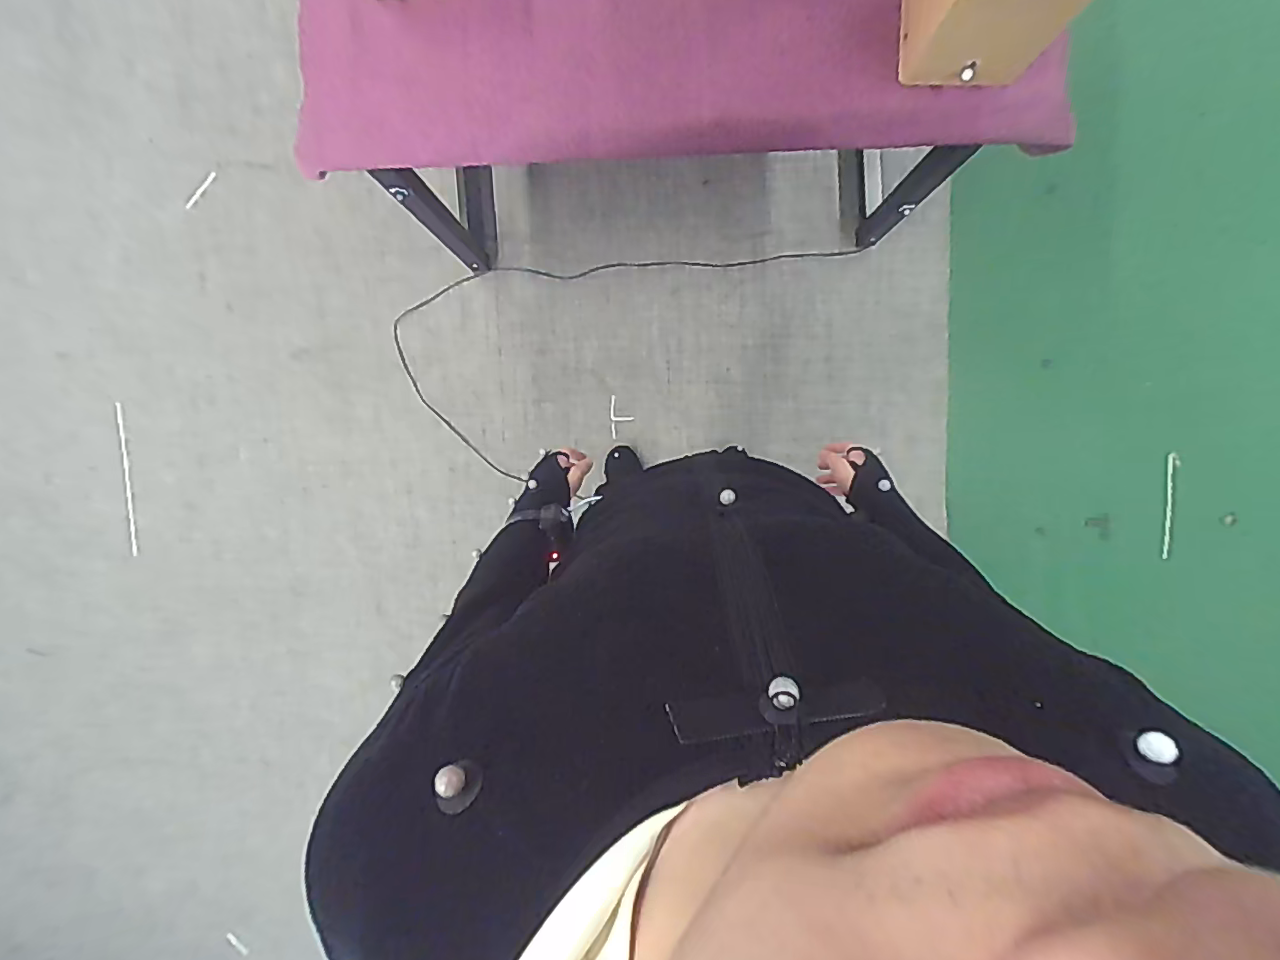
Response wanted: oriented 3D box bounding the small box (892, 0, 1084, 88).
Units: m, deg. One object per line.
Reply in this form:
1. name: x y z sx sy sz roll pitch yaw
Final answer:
1. small box: 0.489 -0.697 0.771 0.179 0.176 0.168 2 92 2

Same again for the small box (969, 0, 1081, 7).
1. small box: 0.486 -0.692 0.609 0.168 0.176 0.179 2 93 3
